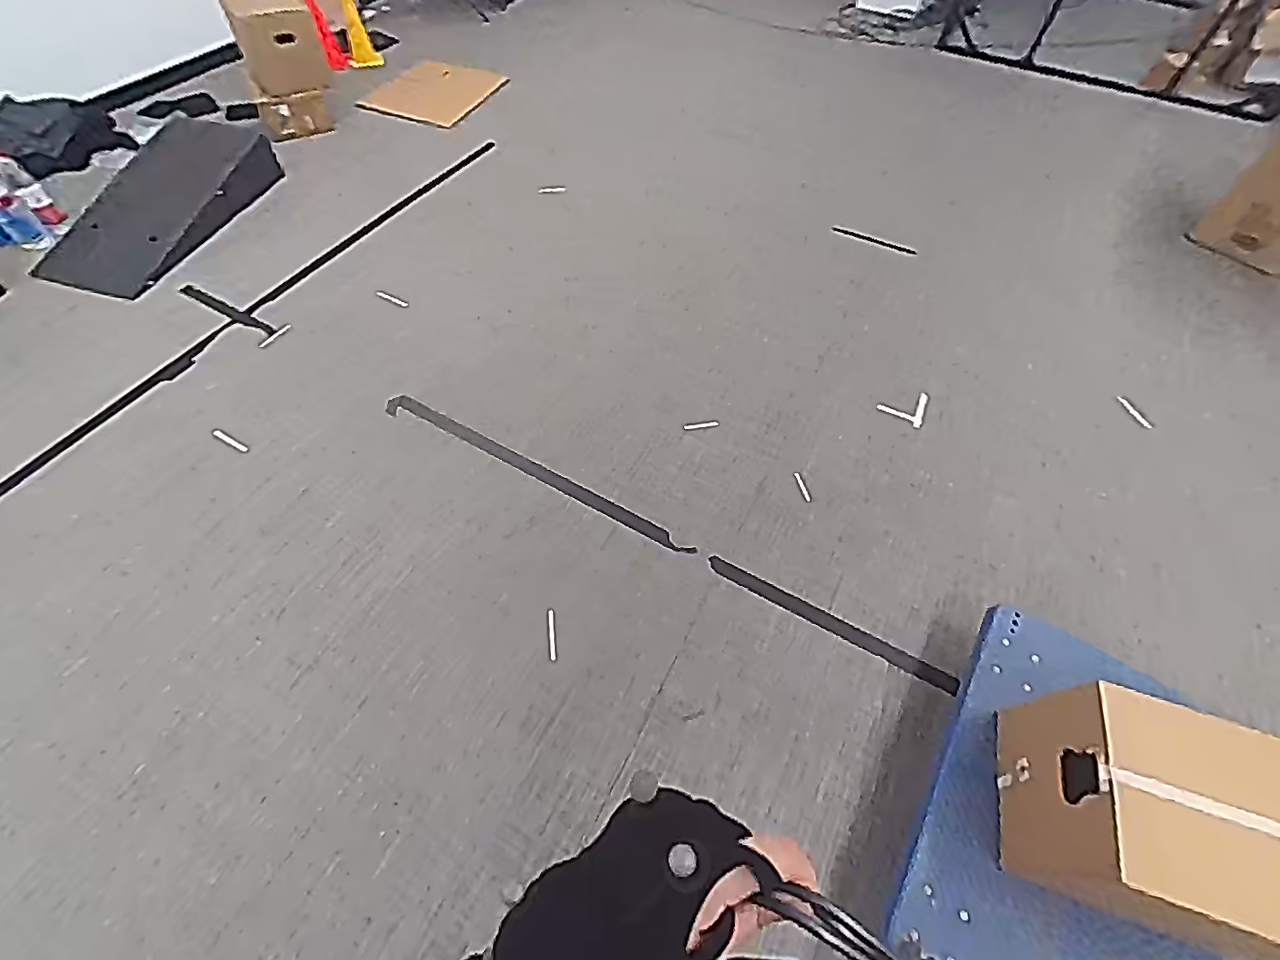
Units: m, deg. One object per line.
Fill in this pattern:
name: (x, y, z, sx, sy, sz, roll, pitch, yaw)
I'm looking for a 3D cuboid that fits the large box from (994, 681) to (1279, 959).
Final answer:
large box: (0.936, 0.610, 0.975, 0.408, 0.320, 0.320, 17, 59, 8)
